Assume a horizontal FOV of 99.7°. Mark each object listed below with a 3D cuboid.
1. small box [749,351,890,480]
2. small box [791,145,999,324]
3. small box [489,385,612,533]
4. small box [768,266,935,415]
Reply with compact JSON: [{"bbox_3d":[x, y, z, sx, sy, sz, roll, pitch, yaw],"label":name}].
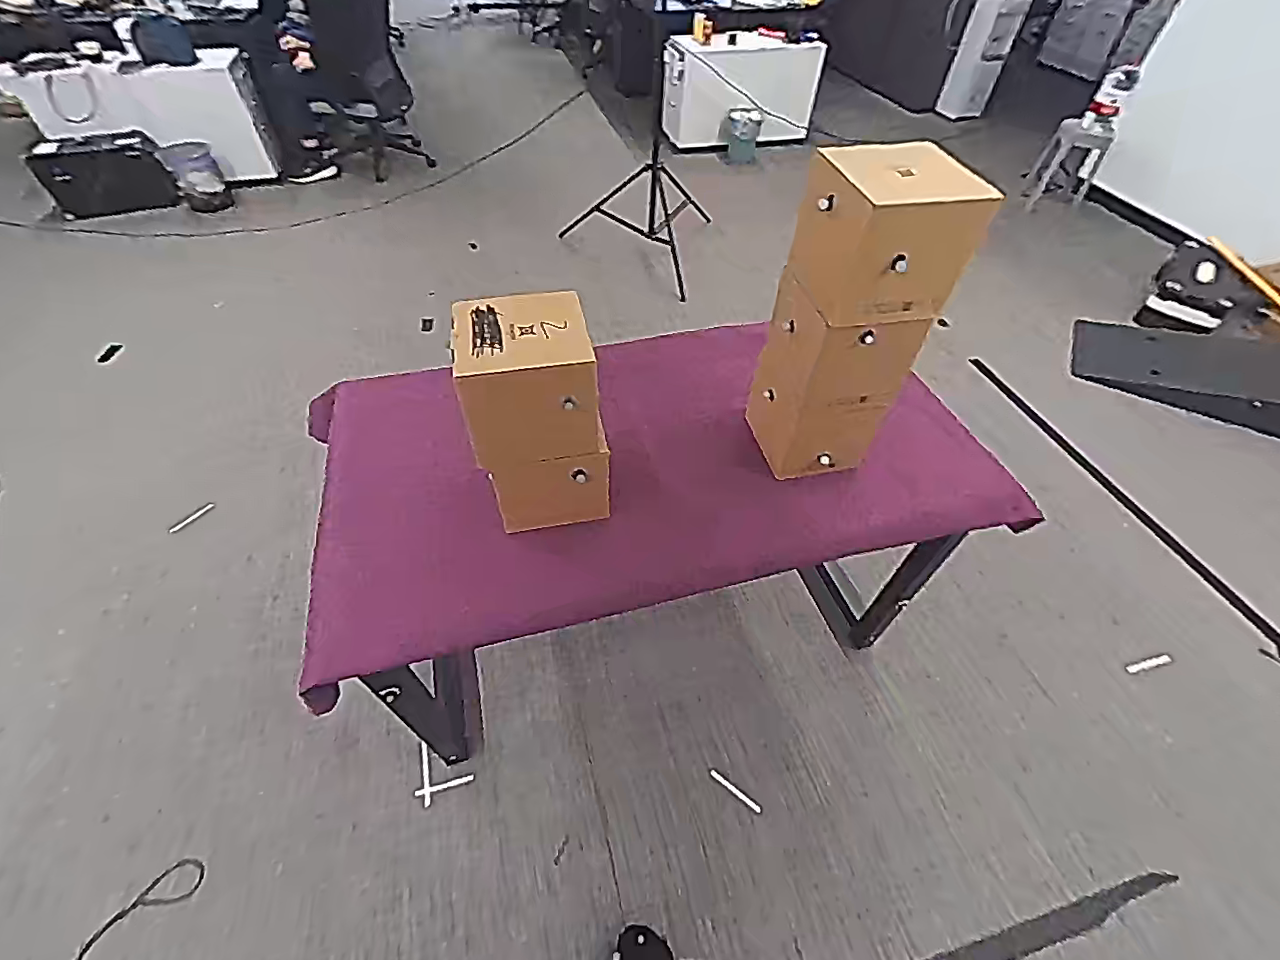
[{"bbox_3d":[0.313,-0.125,0.990,0.168,0.176,0.179,-9,51,-9],"label":"small box"},{"bbox_3d":[0.325,-0.327,0.733,0.168,0.176,0.179,-8,50,-8],"label":"small box"},{"bbox_3d":[-0.146,-0.033,0.897,0.179,0.176,0.168,-9,50,-9],"label":"small box"},{"bbox_3d":[0.319,-0.226,0.862,0.168,0.176,0.179,-8,50,-7],"label":"small box"}]
